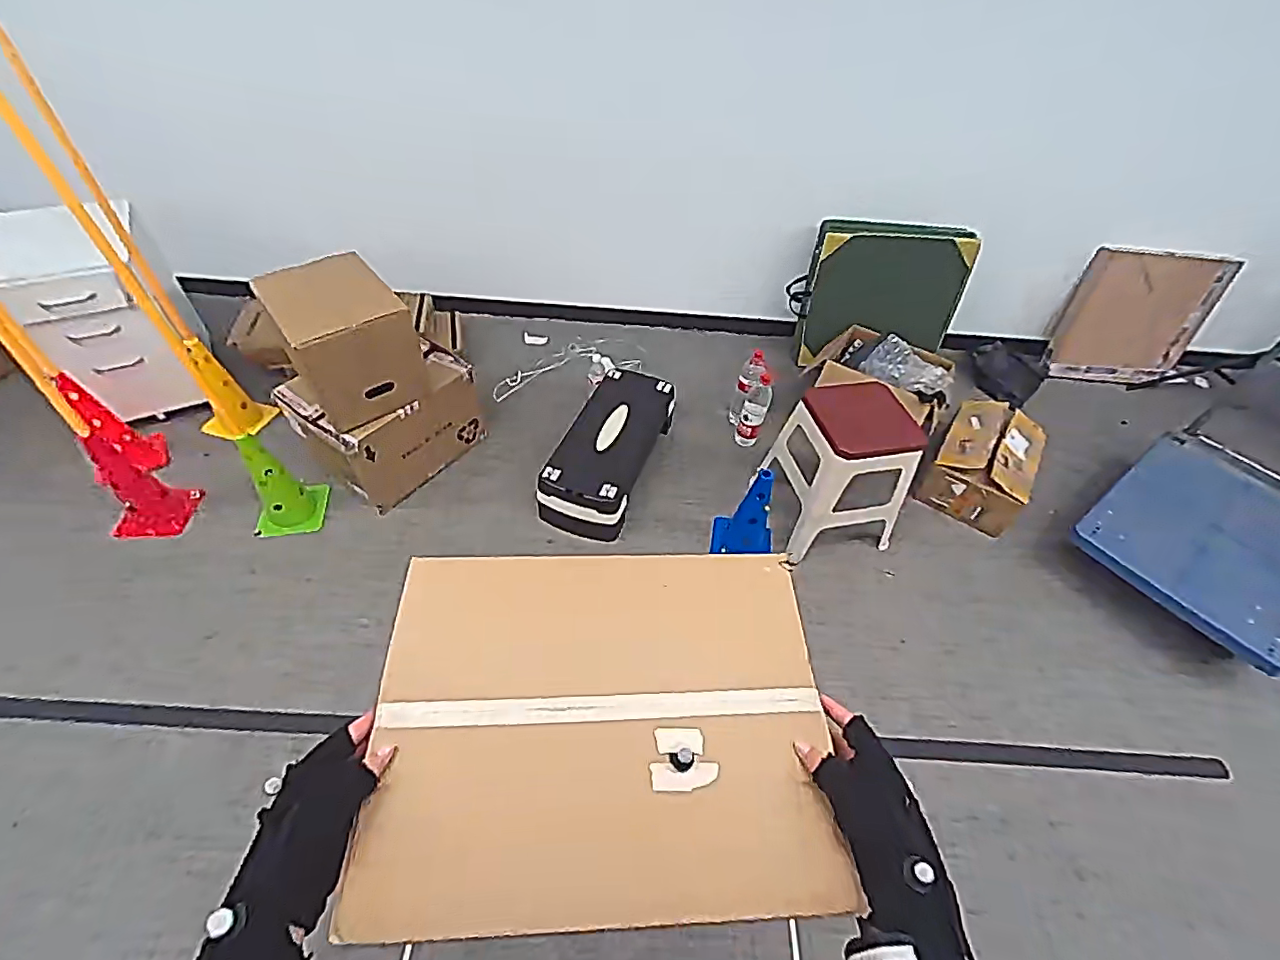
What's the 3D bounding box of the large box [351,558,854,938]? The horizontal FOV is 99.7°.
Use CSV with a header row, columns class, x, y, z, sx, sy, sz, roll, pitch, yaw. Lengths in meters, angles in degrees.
class,x,y,z,sx,sy,sz,roll,pitch,yaw
large box,-0.042,0.301,0.626,0.408,0.320,0.320,0,54,-5
